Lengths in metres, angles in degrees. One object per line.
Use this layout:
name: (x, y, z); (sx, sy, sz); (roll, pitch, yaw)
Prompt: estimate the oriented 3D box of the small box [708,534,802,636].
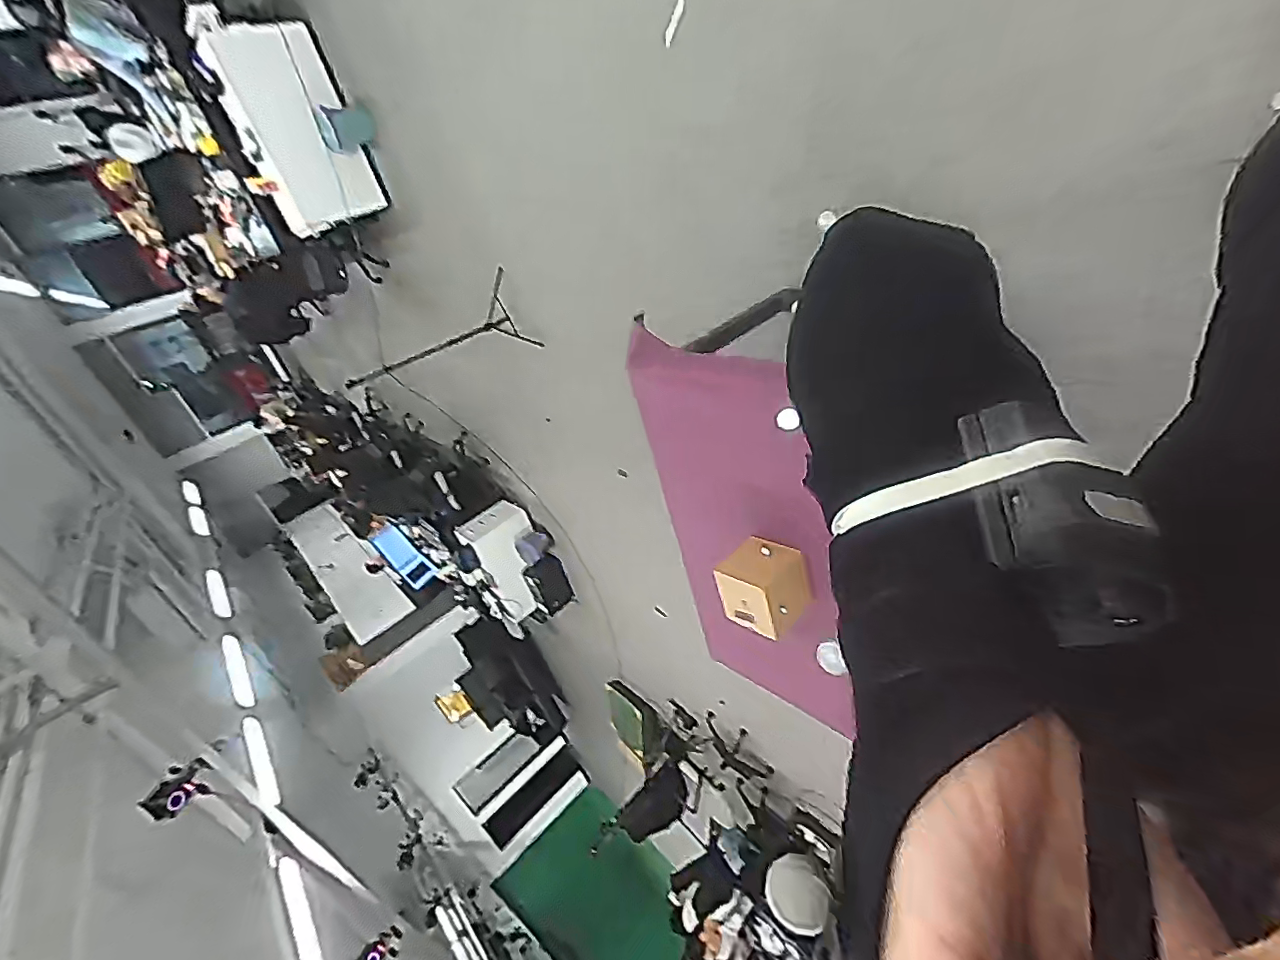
small box: (0.312, 0.273, 1.442); (0.168, 0.176, 0.179); (15, 132, 48)
